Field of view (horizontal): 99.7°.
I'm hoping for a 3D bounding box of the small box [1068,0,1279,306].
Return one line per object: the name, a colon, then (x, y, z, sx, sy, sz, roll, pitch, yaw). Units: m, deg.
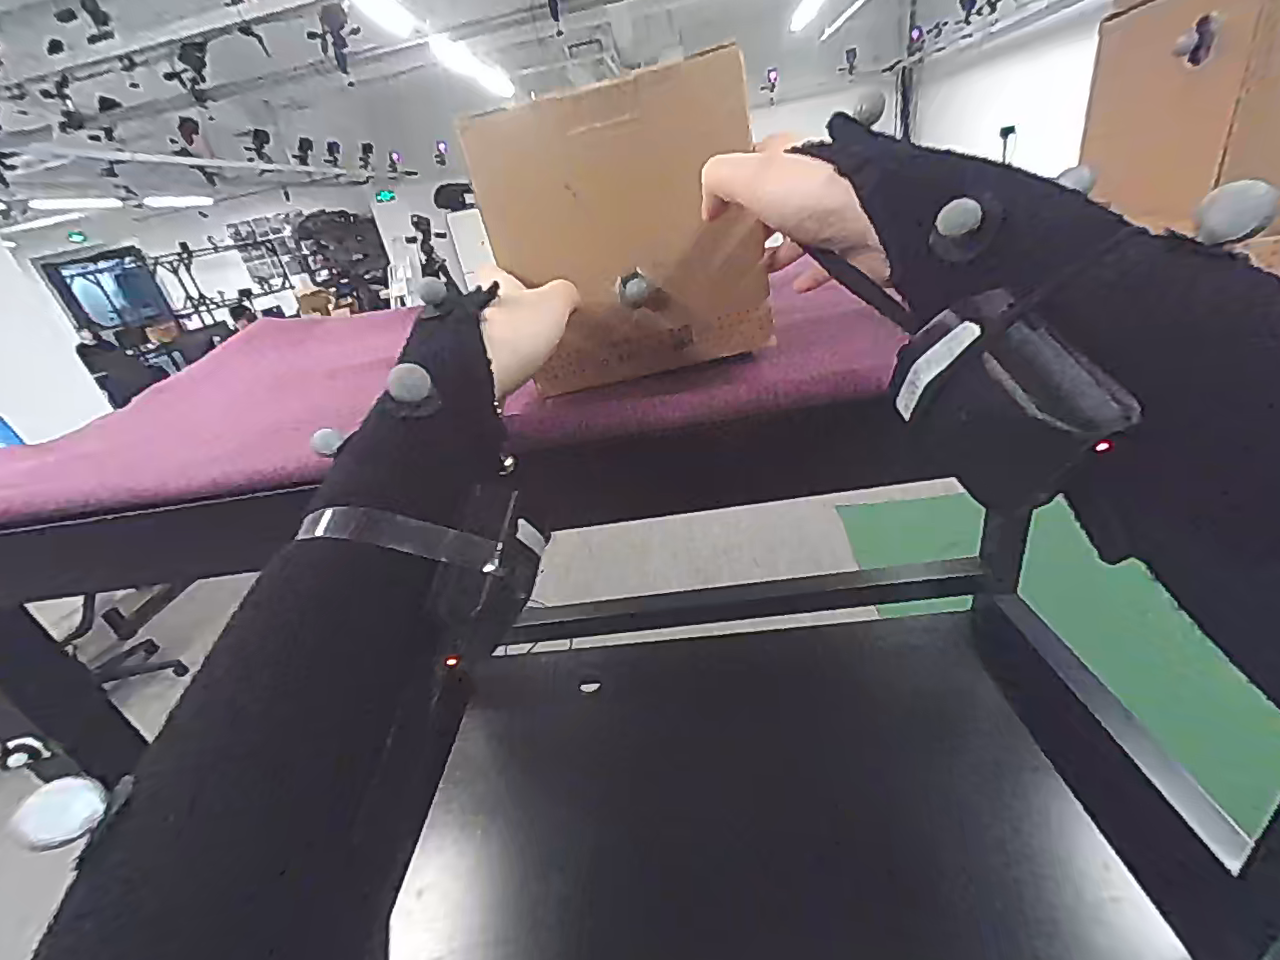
small box: (0.403, -0.214, 0.331, 0.168, 0.176, 0.179, -3, 30, 16)
